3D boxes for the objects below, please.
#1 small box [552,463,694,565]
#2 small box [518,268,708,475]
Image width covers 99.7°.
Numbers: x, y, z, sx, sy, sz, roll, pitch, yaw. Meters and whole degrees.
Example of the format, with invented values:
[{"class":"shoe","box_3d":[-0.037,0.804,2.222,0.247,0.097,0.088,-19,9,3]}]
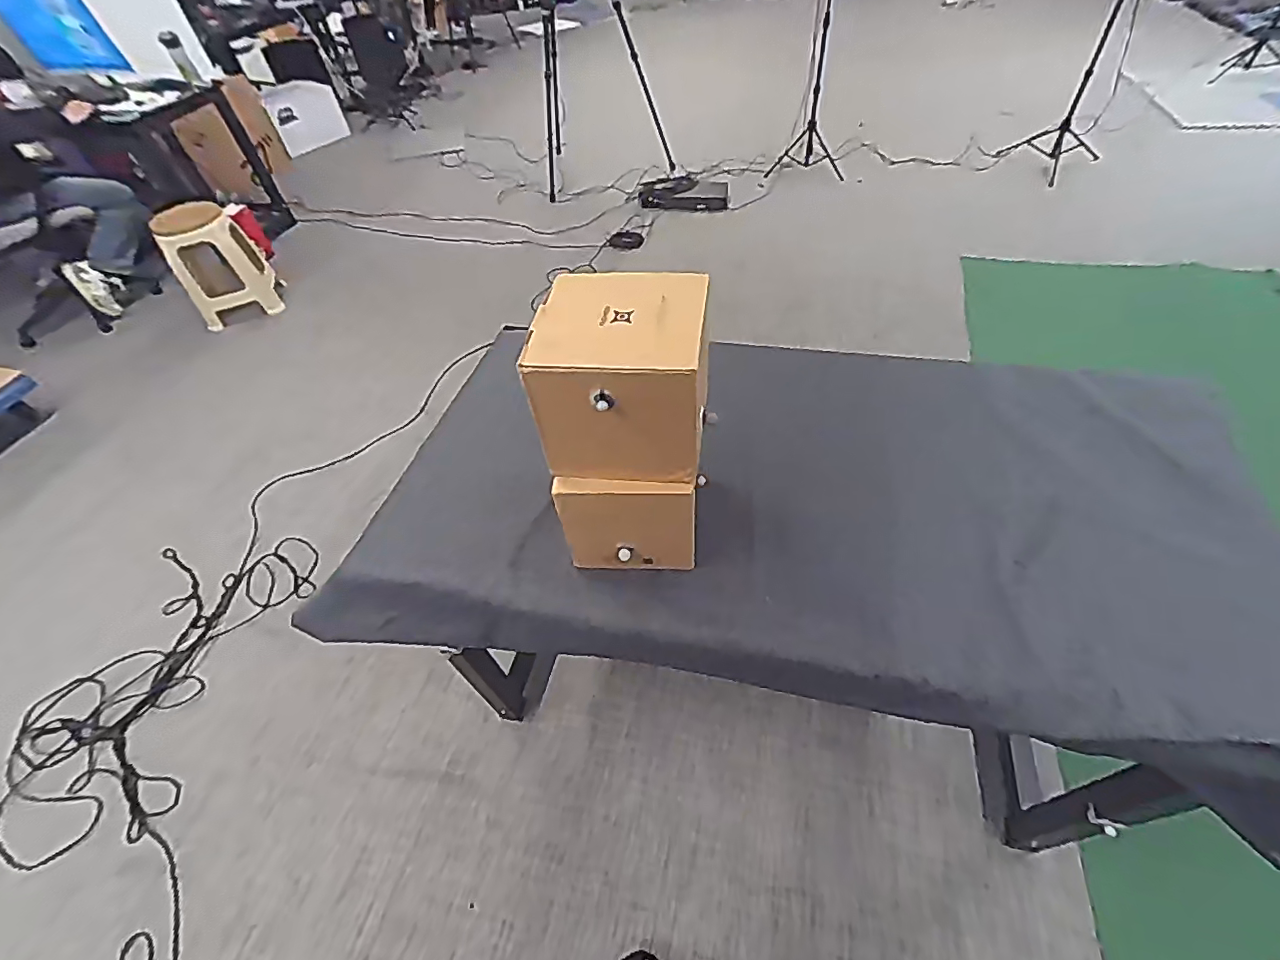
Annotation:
[{"class":"small box","box_3d":[-0.011,-0.005,0.732,0.168,0.176,0.179,0,51,6]},{"class":"small box","box_3d":[-0.016,-0.120,0.617,0.179,0.176,0.168,4,52,8]}]
